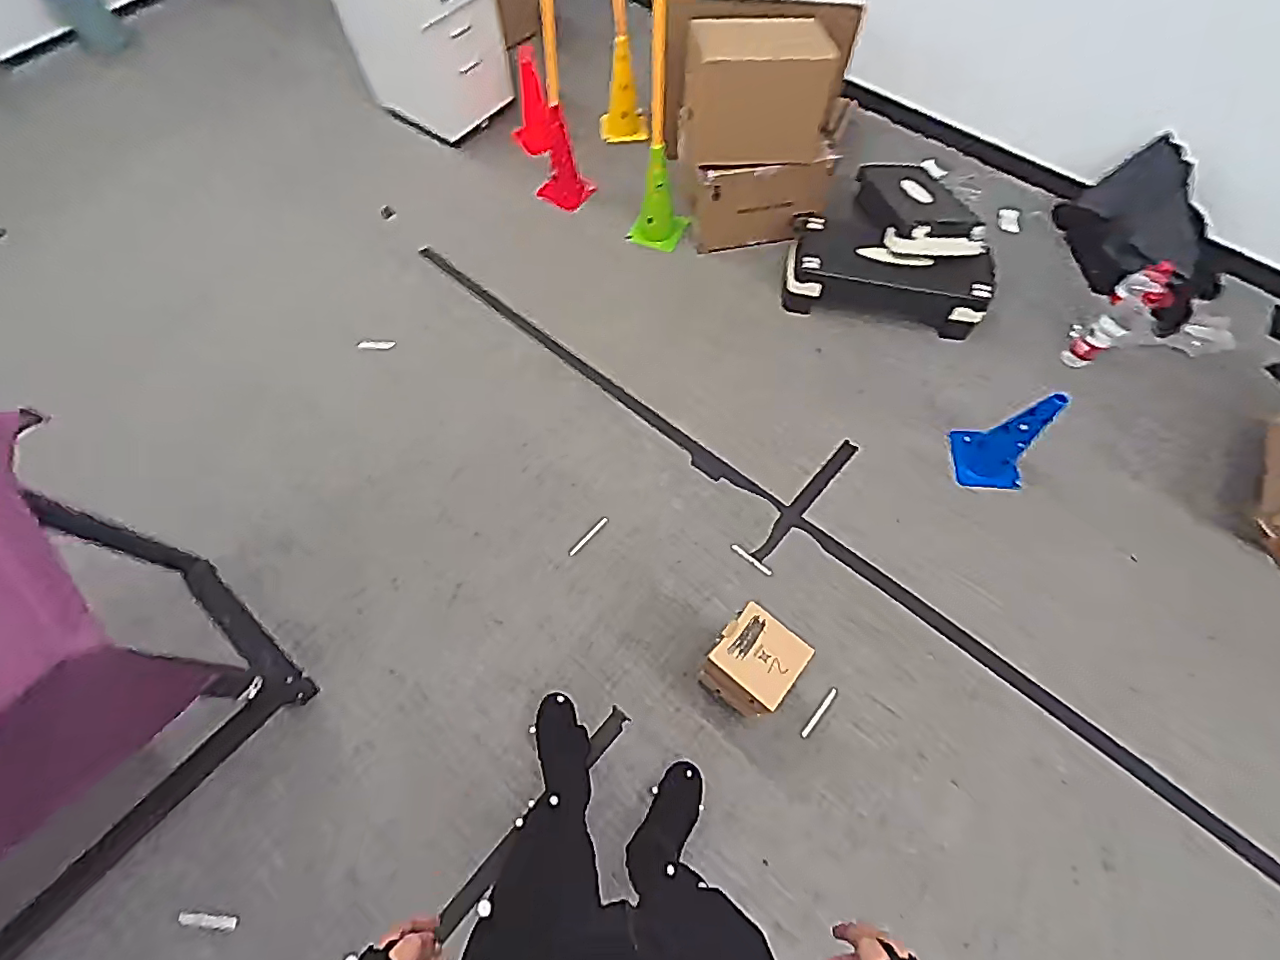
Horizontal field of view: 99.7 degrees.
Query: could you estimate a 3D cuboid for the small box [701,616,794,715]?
[{"bbox_3d":[0.270,0.487,1.399,0.168,0.176,0.179,35,70,15],"label":"small box"}]
